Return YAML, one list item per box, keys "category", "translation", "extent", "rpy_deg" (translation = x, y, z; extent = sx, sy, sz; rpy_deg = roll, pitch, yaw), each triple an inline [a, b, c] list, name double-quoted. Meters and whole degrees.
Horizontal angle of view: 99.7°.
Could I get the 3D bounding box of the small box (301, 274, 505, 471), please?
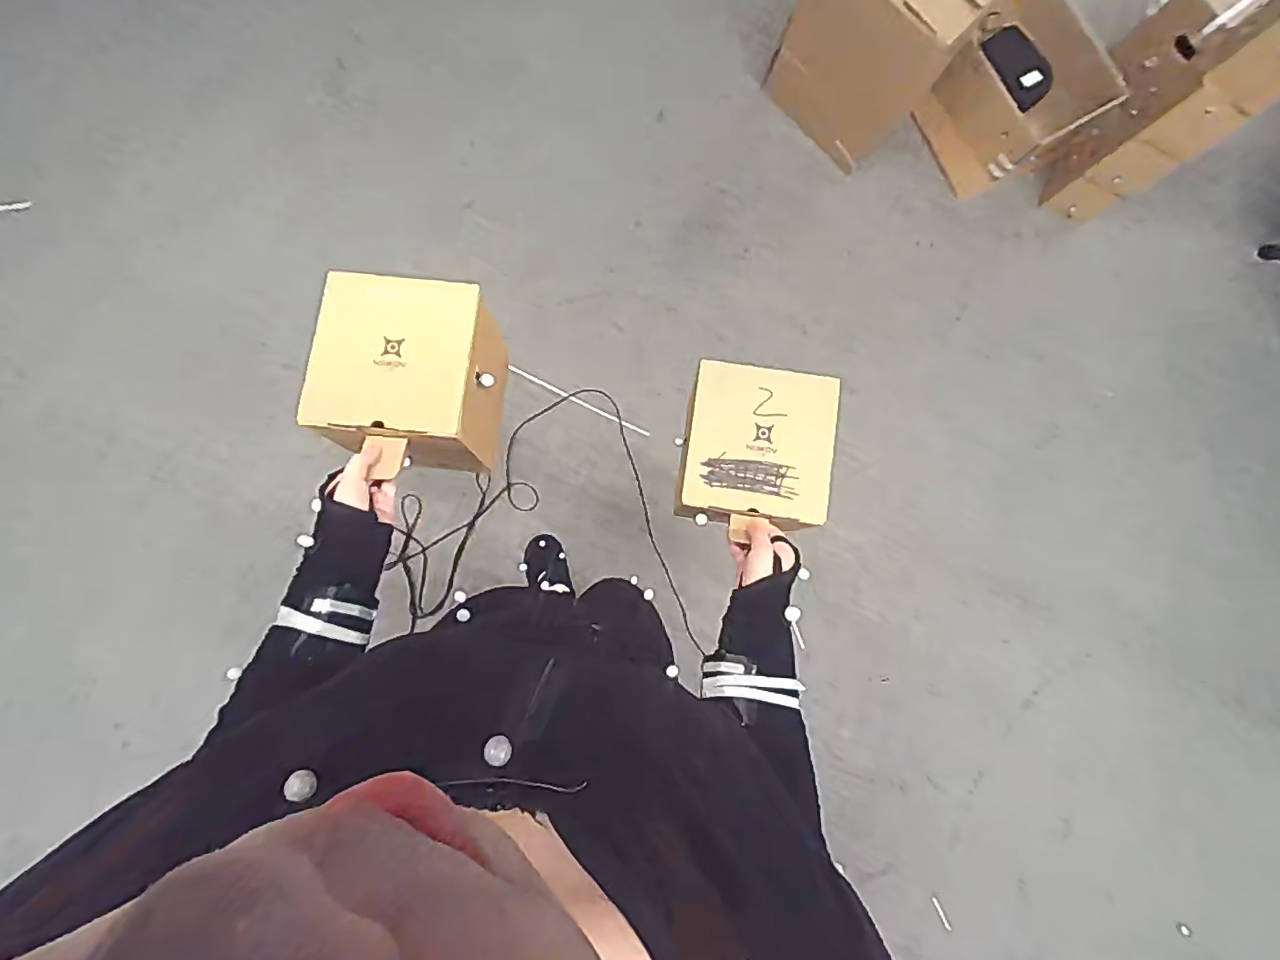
- category: "small box"
  translation: [-0.268, -0.119, 0.657]
  extent: [0.168, 0.176, 0.179]
  rpy_deg: [5, 78, -2]
